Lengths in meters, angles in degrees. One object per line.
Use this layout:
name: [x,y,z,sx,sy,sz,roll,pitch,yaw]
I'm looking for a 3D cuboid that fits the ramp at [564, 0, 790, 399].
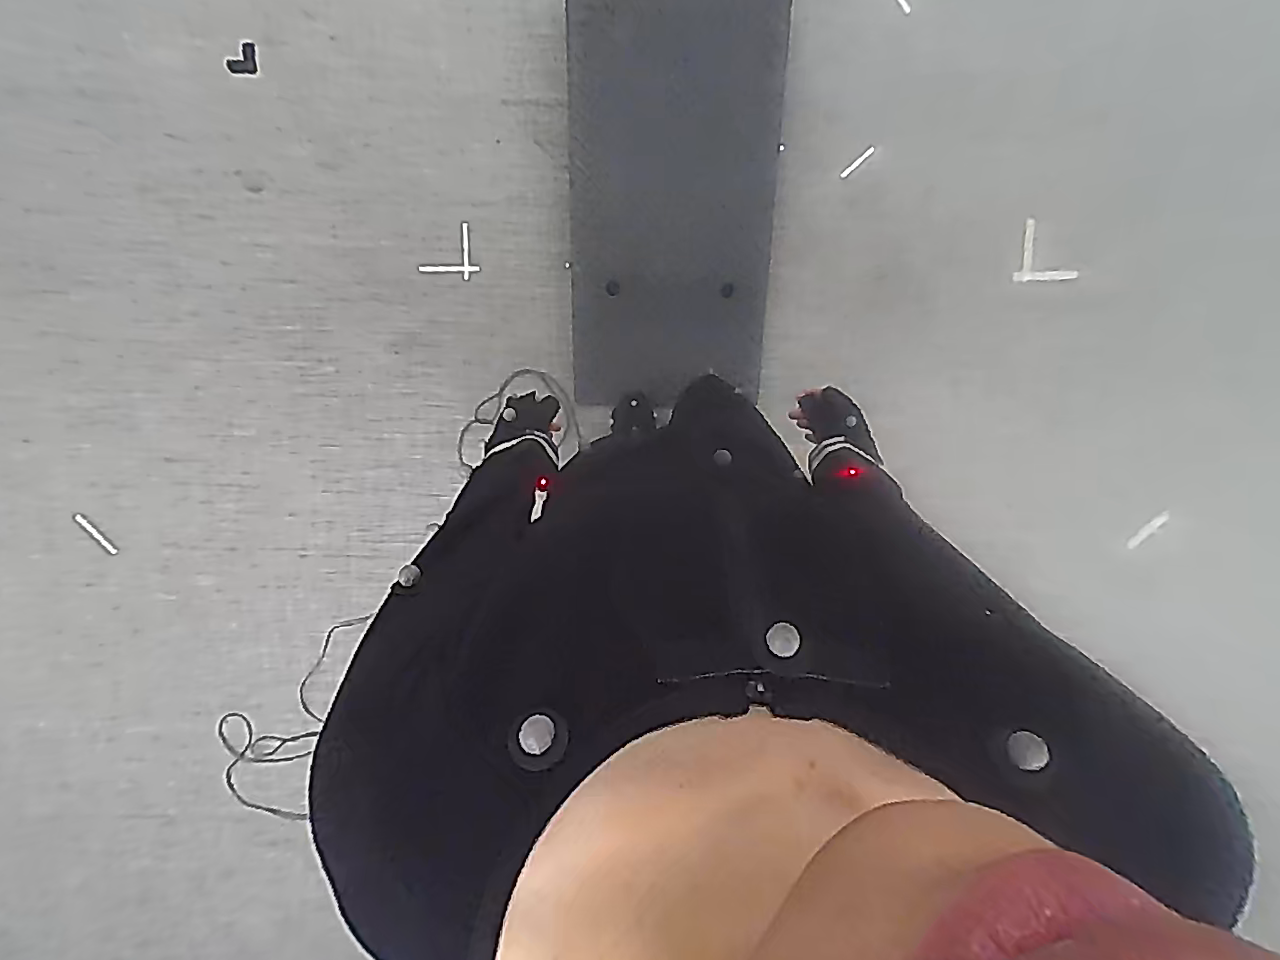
ramp: [0.077,-0.687,1.282,0.509,0.206,0.991,-2,99,-3]
